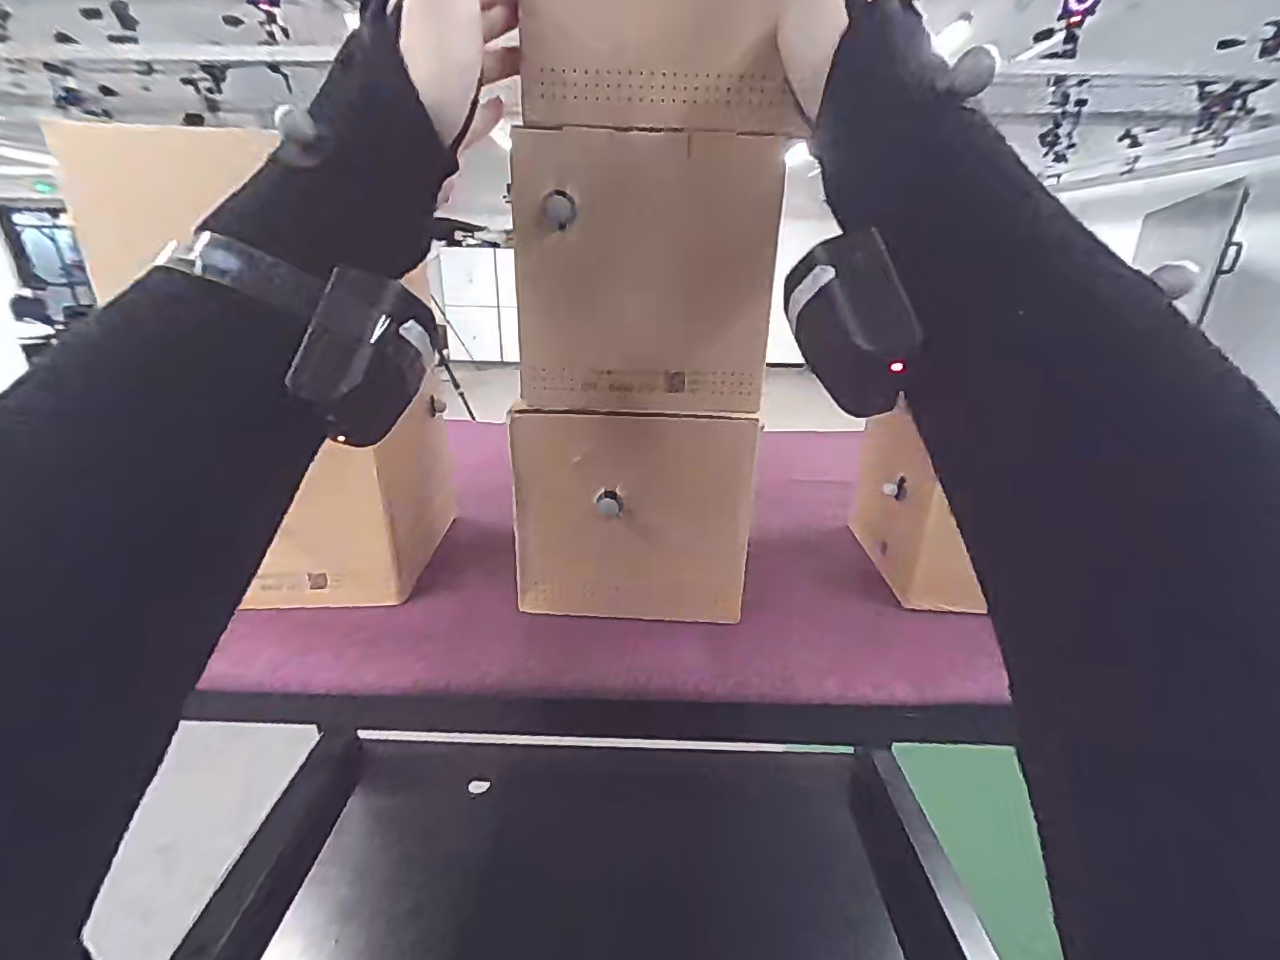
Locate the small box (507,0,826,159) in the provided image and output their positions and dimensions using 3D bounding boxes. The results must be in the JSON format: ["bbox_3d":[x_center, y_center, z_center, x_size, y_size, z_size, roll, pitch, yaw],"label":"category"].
[{"bbox_3d":[0.020,-0.315,0.344,0.179,0.176,0.168,4,21,0],"label":"small box"}]

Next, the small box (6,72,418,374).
[{"bbox_3d":[-0.280,-0.178,0.411,0.168,0.176,0.179,2,21,-4],"label":"small box"}]

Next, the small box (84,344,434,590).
[{"bbox_3d":[-0.285,-0.020,0.459,0.168,0.176,0.179,1,21,-4],"label":"small box"}]
